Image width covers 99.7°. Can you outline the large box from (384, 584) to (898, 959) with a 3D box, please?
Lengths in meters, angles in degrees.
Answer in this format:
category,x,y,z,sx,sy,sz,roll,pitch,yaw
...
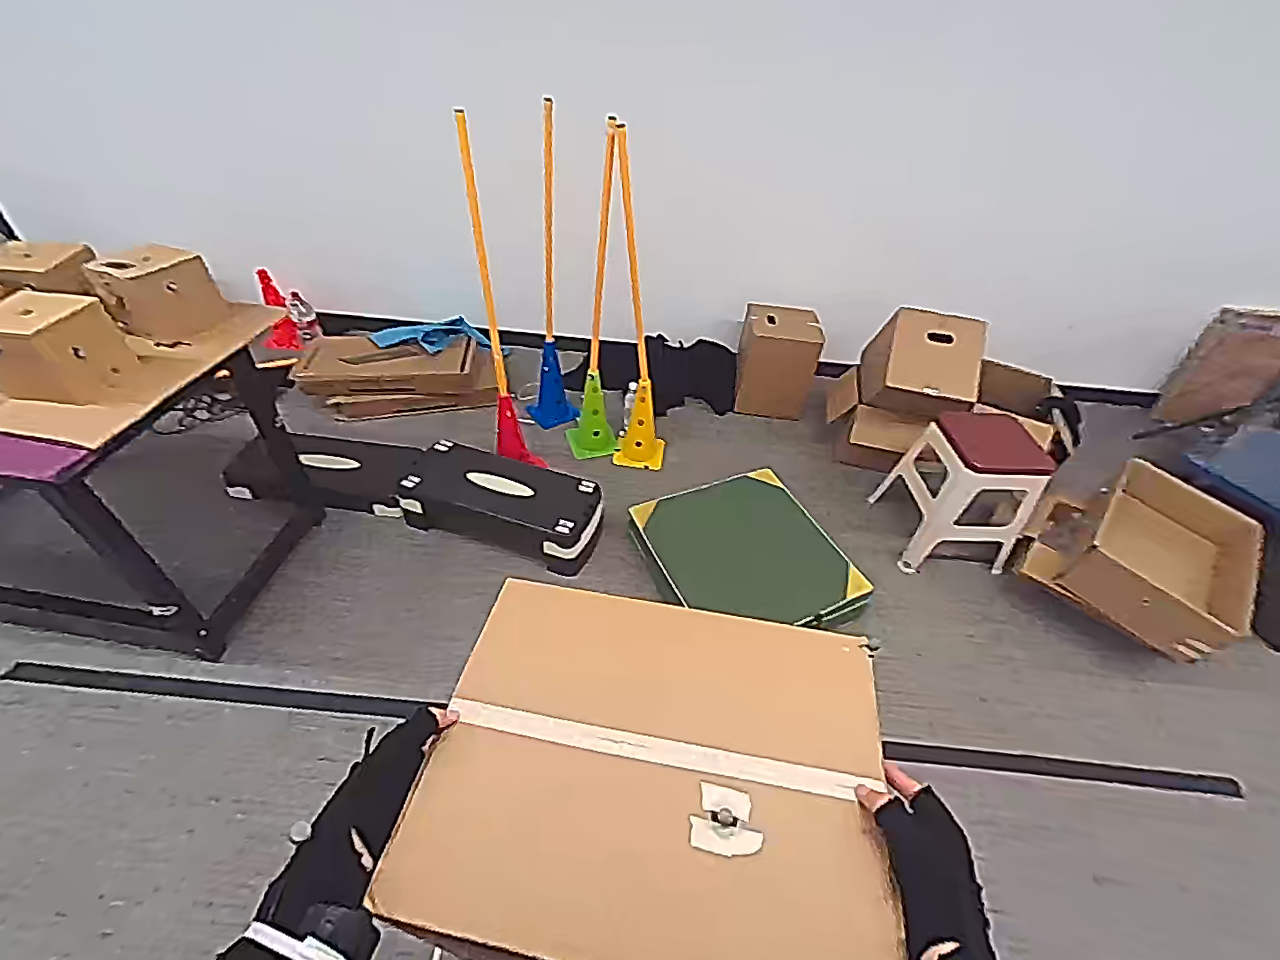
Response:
category,x,y,z,sx,sy,sz,roll,pitch,yaw
large box,0.013,0.358,0.610,0.408,0.320,0.320,9,45,7
